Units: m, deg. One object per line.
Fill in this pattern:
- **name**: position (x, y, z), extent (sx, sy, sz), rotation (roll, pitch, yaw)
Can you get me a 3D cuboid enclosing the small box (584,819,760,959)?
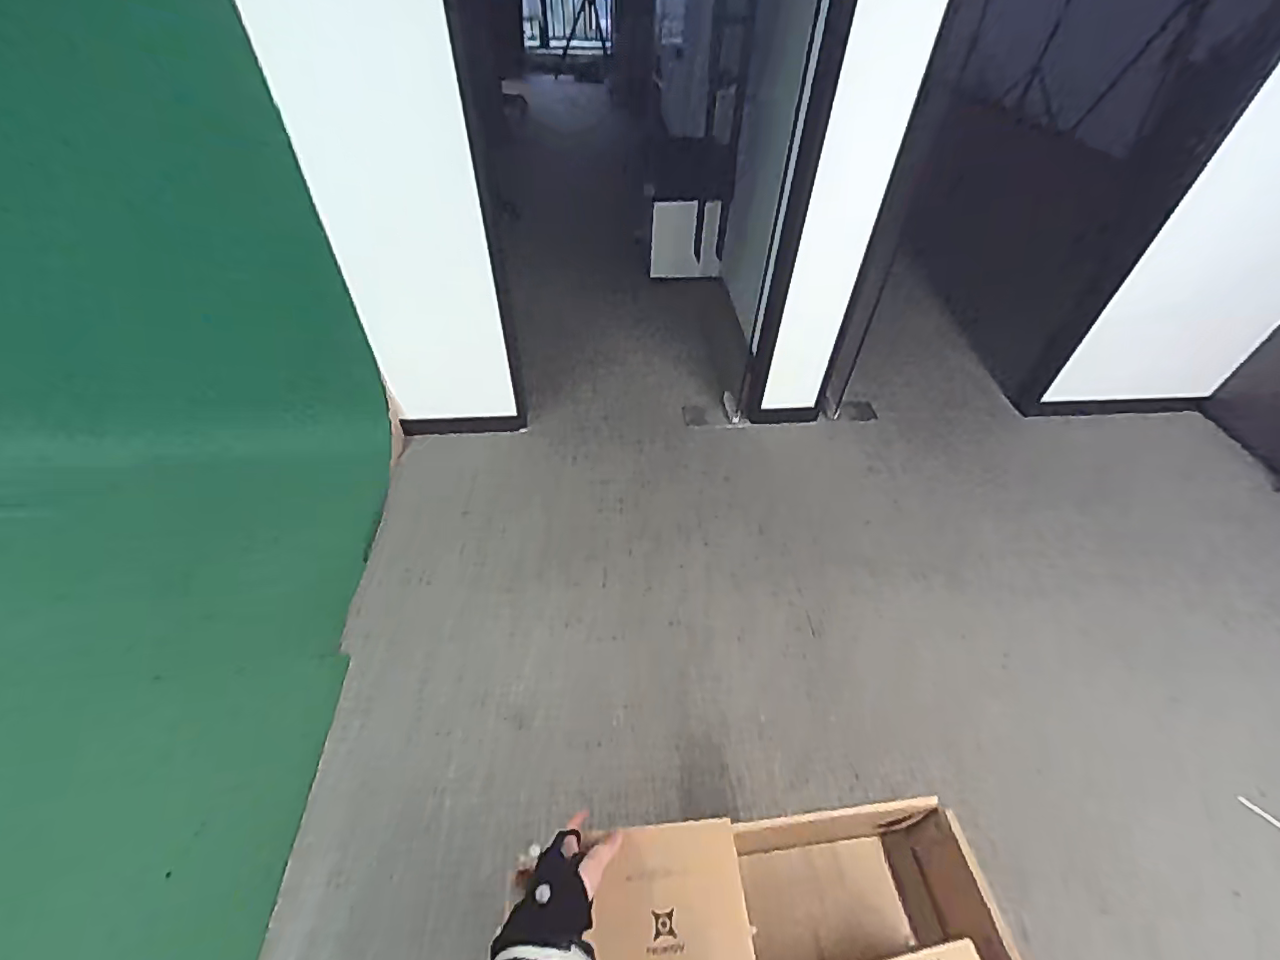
- **small box**: position (0.027, 0.483, 0.574), extent (0.168, 0.176, 0.179), rotation (-2, 46, -5)
